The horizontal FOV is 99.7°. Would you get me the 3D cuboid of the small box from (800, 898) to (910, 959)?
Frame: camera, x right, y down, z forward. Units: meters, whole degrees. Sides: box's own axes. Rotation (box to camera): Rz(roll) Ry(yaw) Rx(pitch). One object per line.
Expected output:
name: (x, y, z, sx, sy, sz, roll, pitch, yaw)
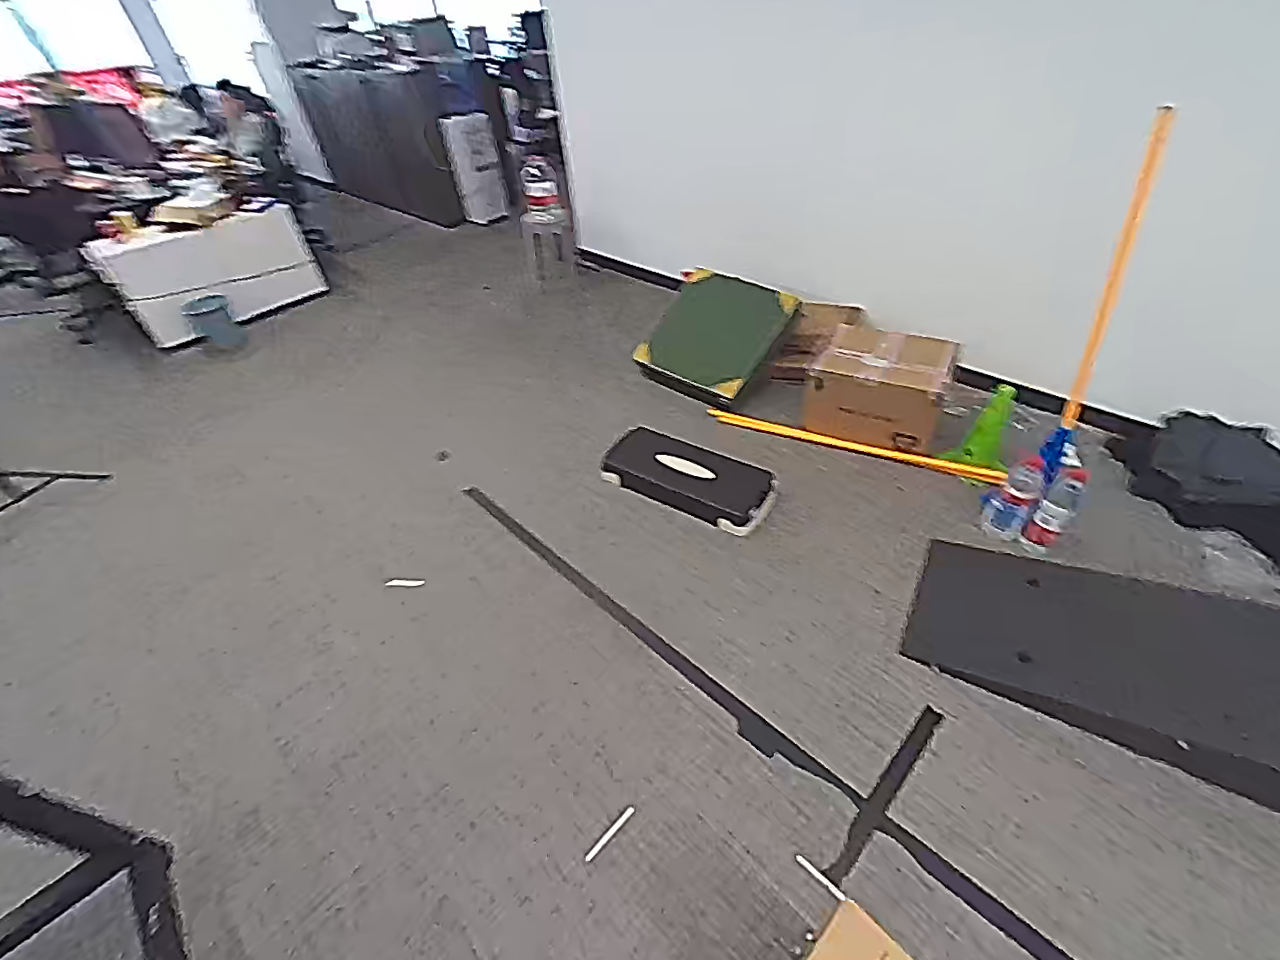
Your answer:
small box: (0.350, 0.845, 0.882, 0.179, 0.176, 0.168, -34, 50, -29)
